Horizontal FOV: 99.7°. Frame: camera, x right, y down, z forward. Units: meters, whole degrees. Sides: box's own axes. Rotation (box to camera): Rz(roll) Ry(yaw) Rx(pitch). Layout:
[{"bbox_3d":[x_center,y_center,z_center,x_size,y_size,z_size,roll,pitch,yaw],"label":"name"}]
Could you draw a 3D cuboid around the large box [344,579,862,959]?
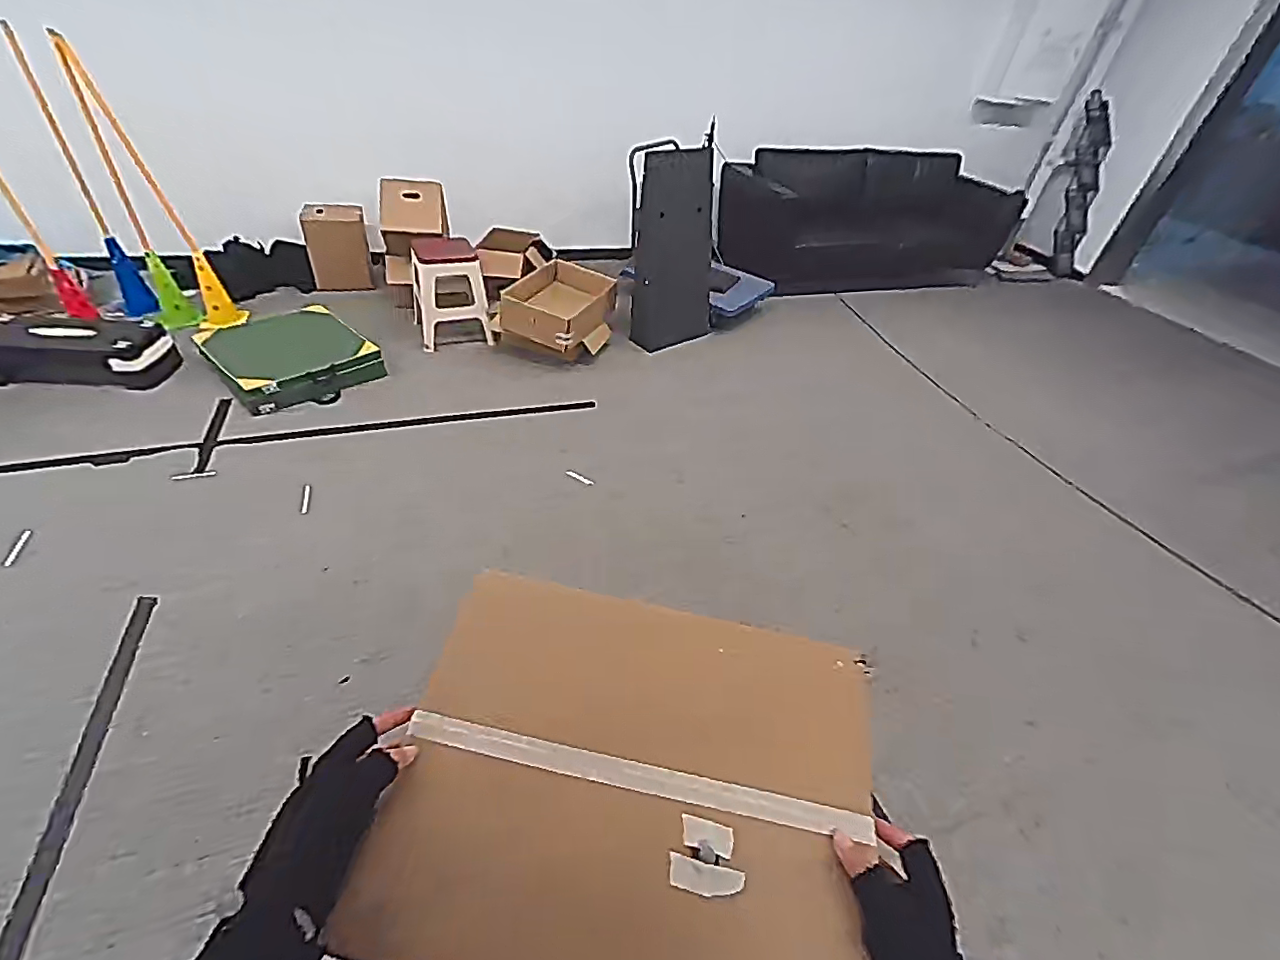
[{"bbox_3d":[-0.017,0.350,0.603,0.408,0.320,0.320,12,53,3],"label":"large box"}]
